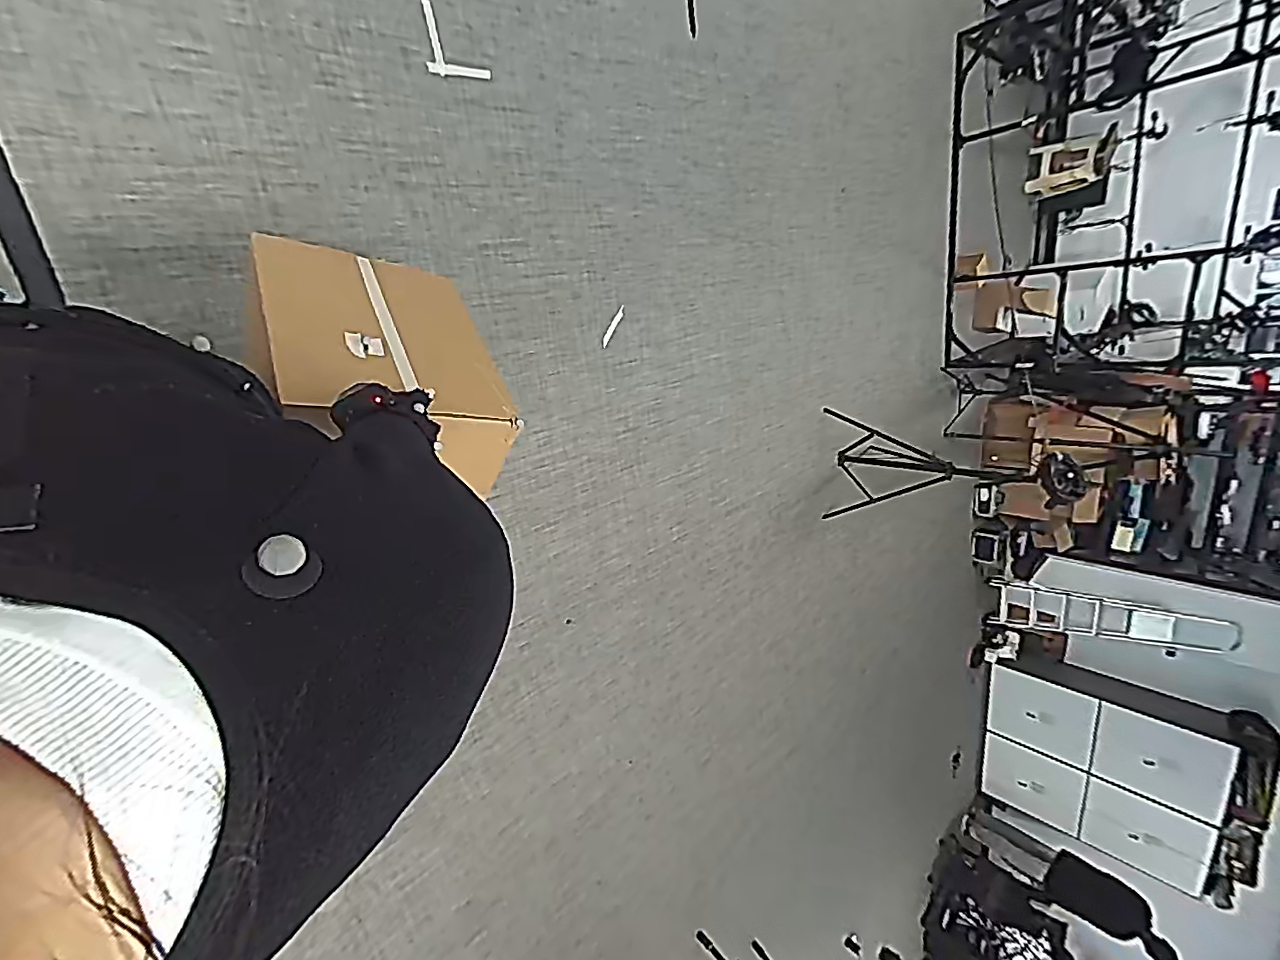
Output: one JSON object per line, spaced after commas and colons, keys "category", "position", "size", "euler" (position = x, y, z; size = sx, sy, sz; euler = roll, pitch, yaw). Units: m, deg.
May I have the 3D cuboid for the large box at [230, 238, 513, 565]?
{"category": "large box", "position": [-0.467, -0.121, 0.899], "size": [0.320, 0.408, 0.320], "euler": [-1, 139, -41]}
